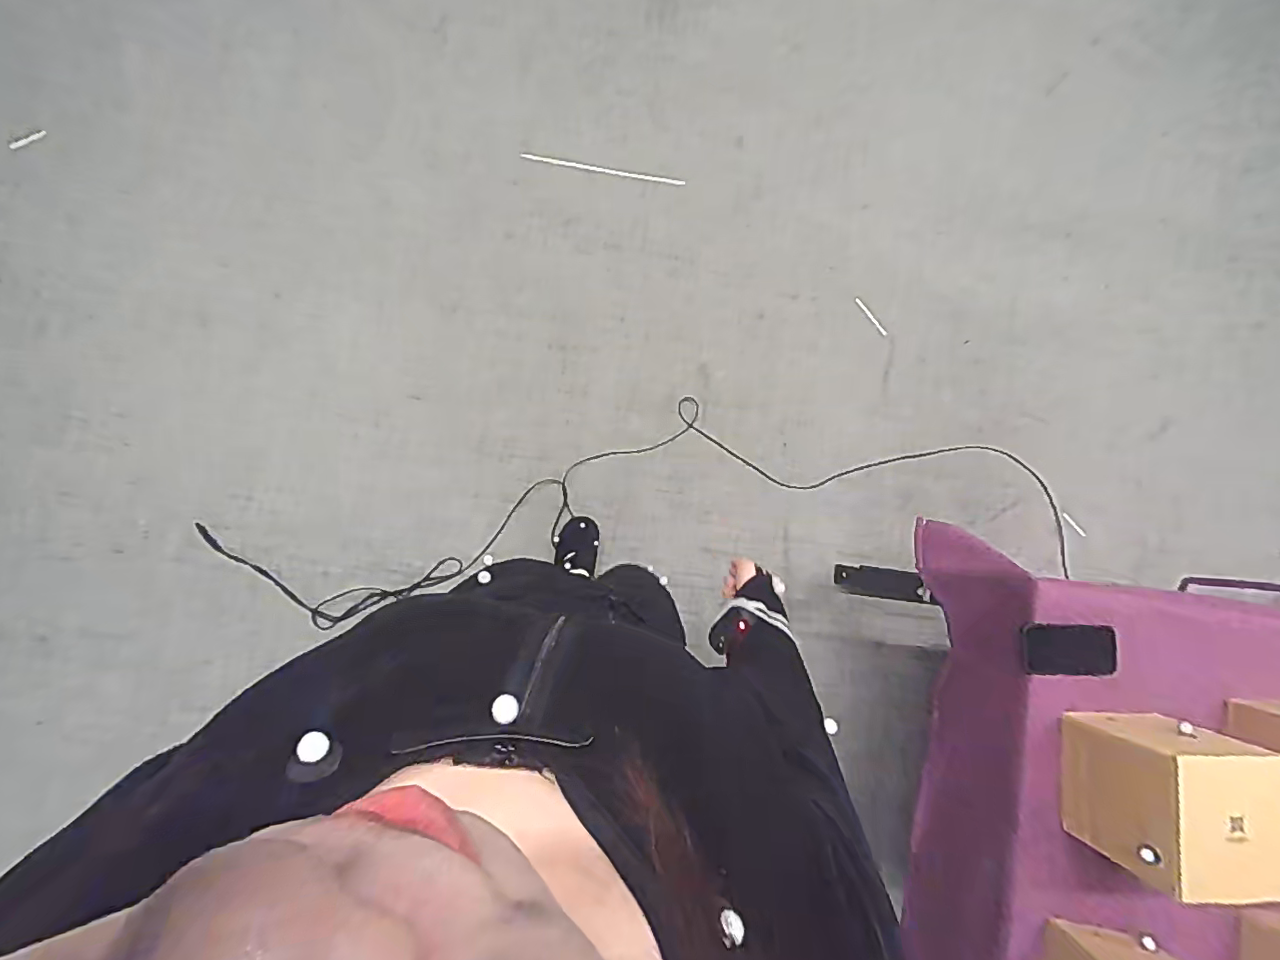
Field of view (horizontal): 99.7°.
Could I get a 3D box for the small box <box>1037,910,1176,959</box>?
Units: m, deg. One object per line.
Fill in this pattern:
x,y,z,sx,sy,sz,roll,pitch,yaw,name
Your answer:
0.667,0.736,0.732,0.168,0.176,0.179,15,85,-5,small box

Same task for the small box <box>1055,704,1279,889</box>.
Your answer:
0.729,0.430,0.764,0.168,0.176,0.179,3,86,-6,small box
